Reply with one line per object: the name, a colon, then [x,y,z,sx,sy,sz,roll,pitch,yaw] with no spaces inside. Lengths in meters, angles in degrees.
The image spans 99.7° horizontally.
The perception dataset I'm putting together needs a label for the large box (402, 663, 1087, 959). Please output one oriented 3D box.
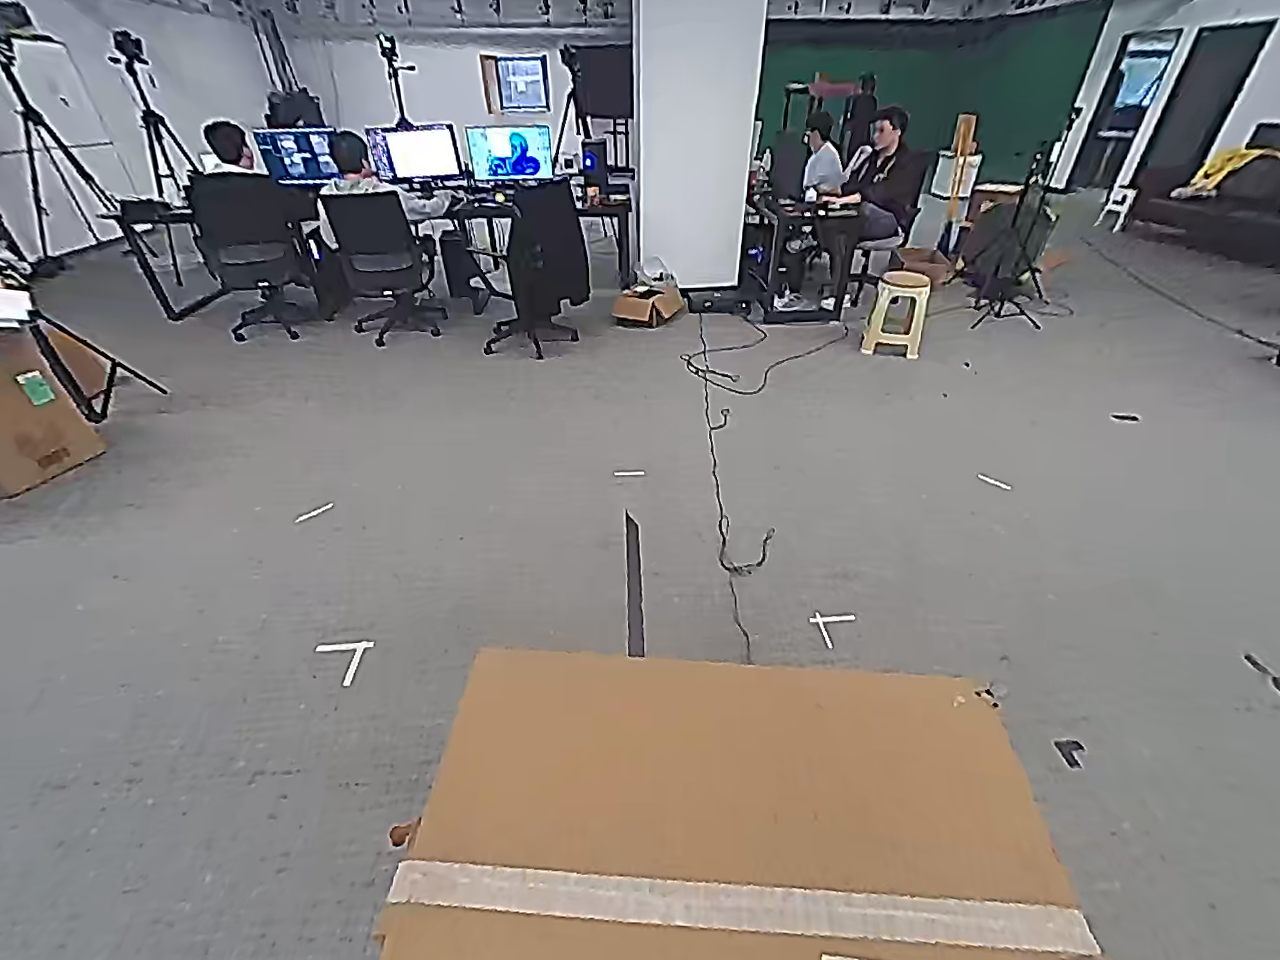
large box: [0.058,0.371,0.430,0.408,0.320,0.320,3,43,2]
